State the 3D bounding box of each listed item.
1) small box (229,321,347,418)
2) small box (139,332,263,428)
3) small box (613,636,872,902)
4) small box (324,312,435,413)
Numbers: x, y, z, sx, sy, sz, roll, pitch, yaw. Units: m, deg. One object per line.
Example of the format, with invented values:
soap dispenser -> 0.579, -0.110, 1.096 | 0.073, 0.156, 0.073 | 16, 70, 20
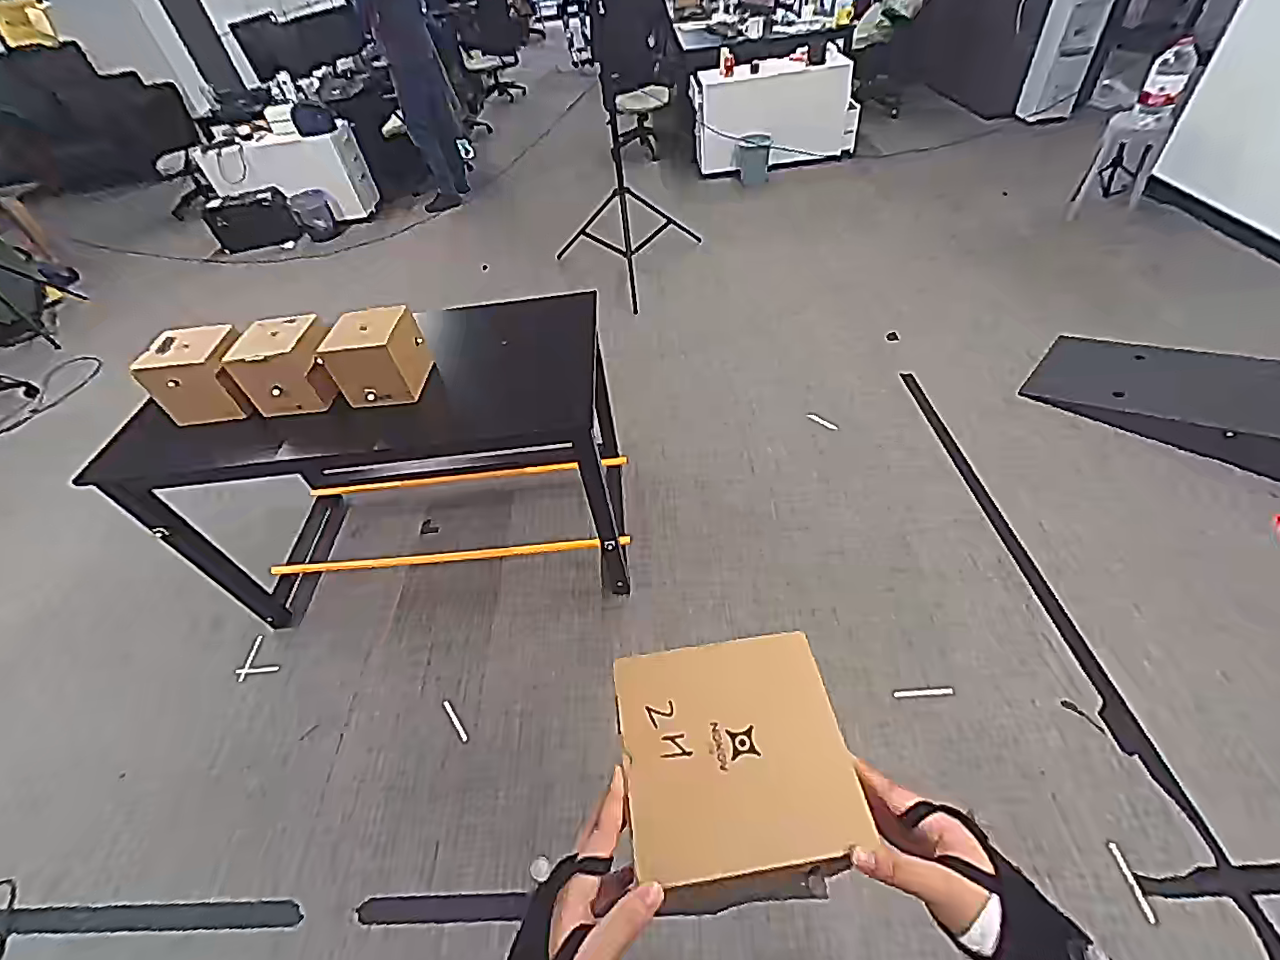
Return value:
small box -> -0.849, -0.267, 1.337 | 0.168, 0.176, 0.179 | -6, 47, 4
small box -> -1.062, -0.245, 1.347 | 0.179, 0.176, 0.168 | -7, 46, 1
small box -> 0.074, 0.263, 0.490 | 0.179, 0.176, 0.168 | -8, 48, -2
small box -> -0.624, -0.286, 1.324 | 0.168, 0.176, 0.179 | -6, 47, 5
